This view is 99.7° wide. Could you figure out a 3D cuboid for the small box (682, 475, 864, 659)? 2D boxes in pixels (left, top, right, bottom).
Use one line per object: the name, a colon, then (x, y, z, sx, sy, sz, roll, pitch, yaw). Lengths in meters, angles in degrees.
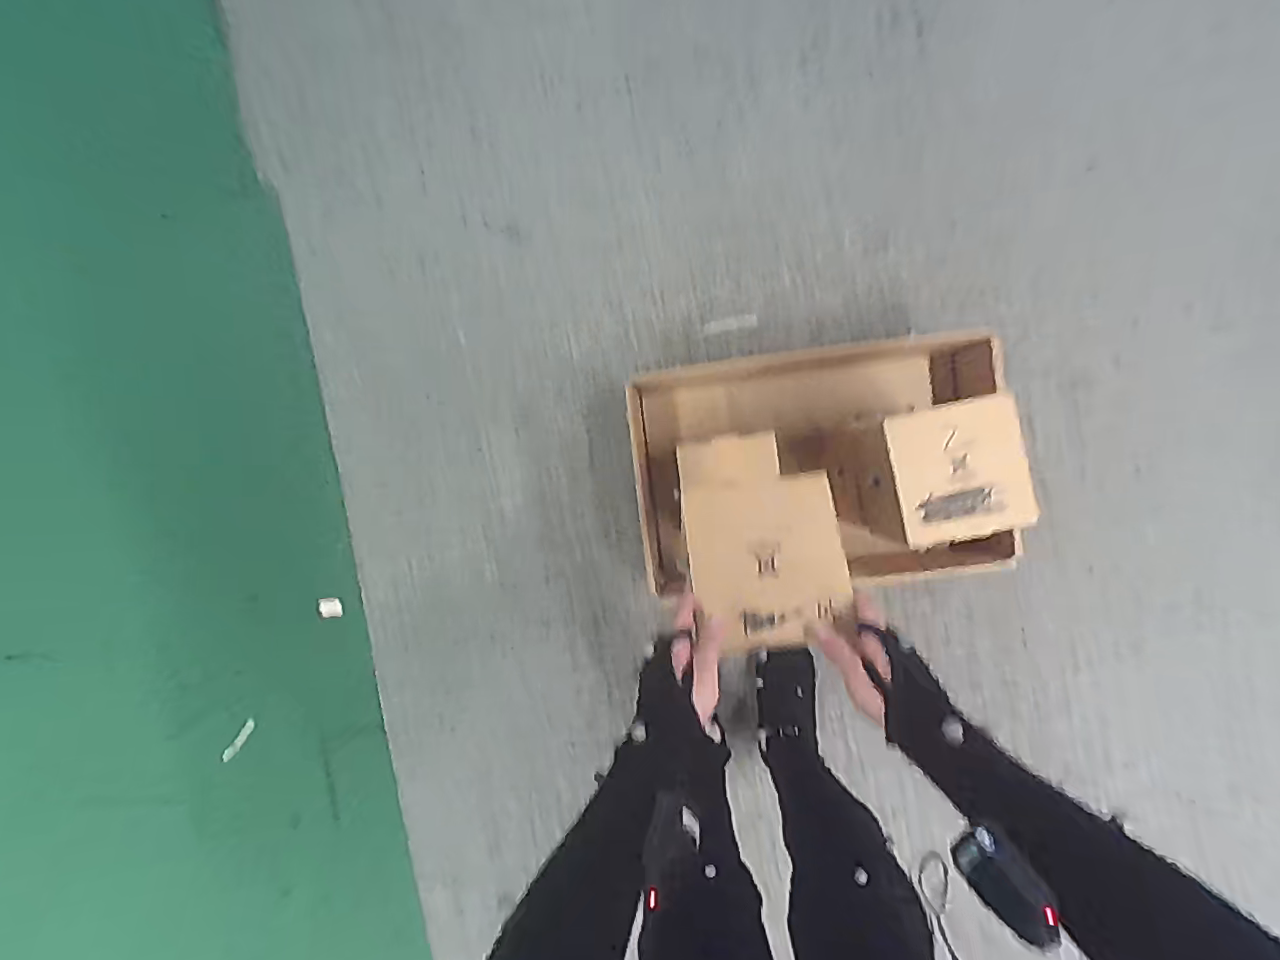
small box: (0.138, 0.110, 0.636, 0.168, 0.176, 0.179, -6, 69, 3)
